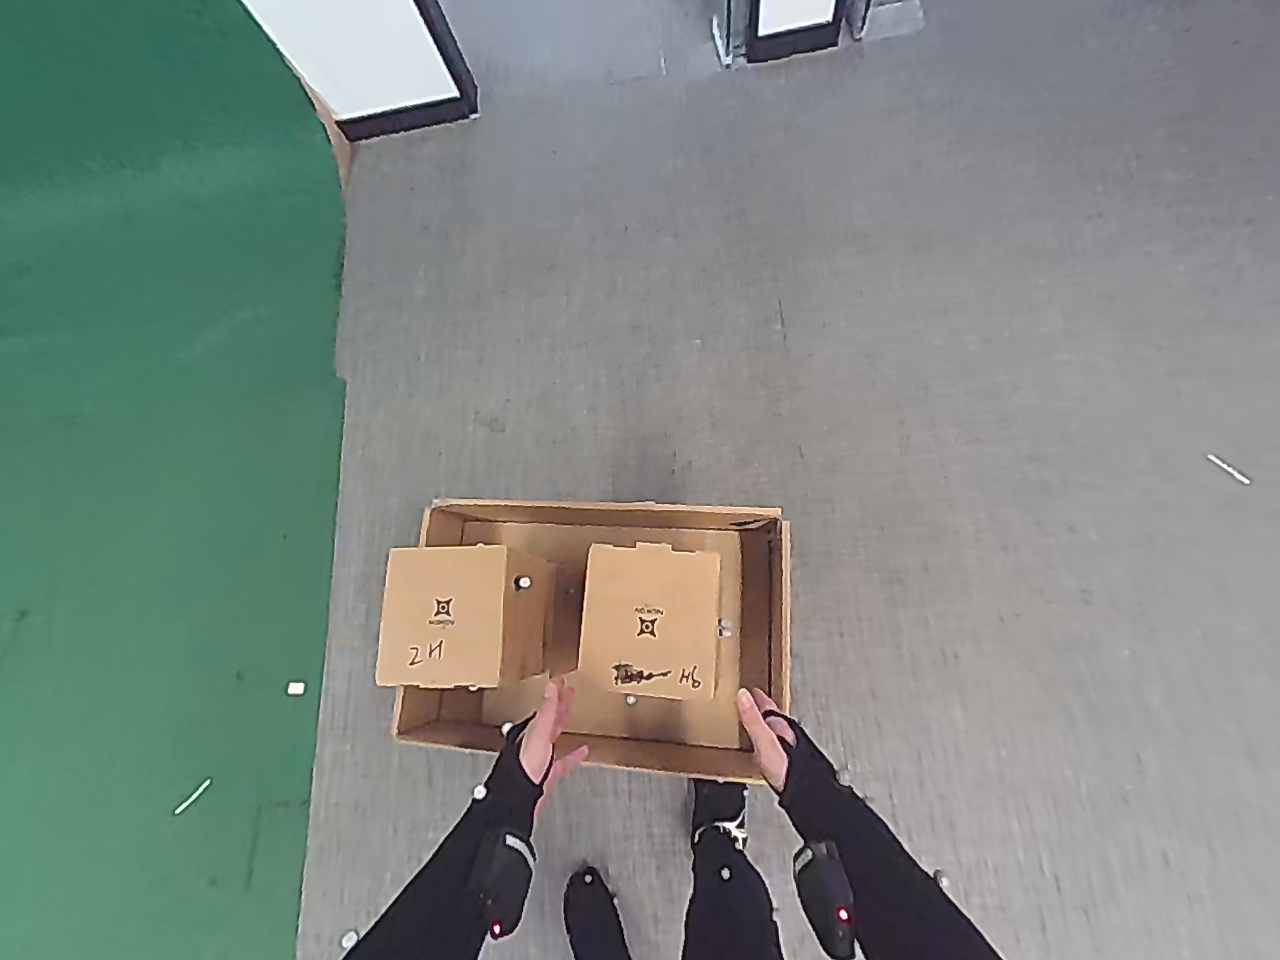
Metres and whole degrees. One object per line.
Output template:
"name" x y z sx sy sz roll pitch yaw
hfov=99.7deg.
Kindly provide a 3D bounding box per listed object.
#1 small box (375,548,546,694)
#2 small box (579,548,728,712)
"small box" -0.235 0.192 0.754 0.168 0.176 0.179 -1 77 8
"small box" 0.026 0.192 0.721 0.168 0.176 0.179 4 78 8
